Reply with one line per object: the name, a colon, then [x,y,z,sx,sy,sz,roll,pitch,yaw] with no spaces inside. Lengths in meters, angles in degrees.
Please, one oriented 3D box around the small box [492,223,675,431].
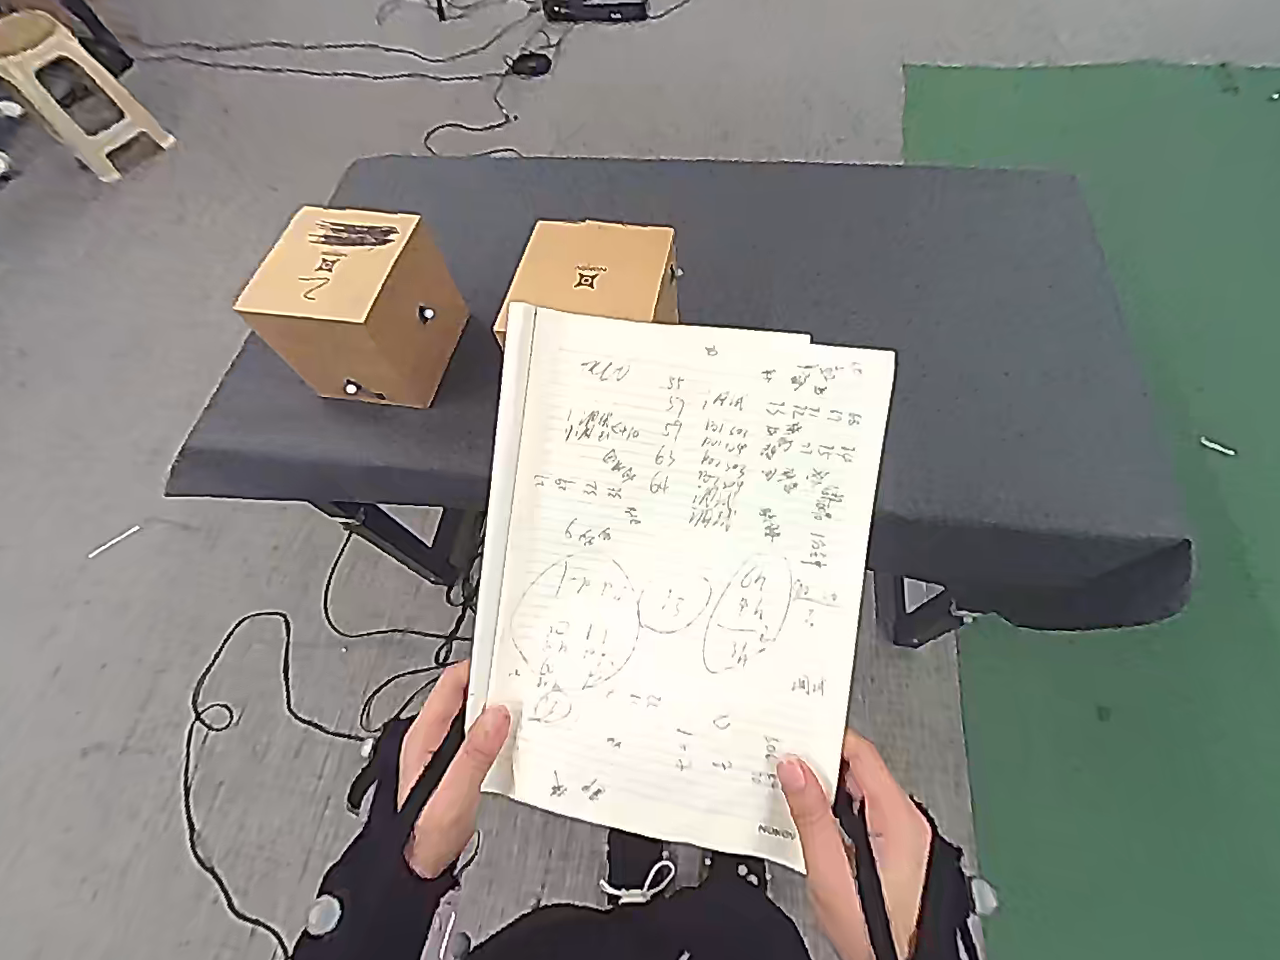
small box: [-0.051,-0.177,0.650,0.168,0.176,0.179,7,63,9]
